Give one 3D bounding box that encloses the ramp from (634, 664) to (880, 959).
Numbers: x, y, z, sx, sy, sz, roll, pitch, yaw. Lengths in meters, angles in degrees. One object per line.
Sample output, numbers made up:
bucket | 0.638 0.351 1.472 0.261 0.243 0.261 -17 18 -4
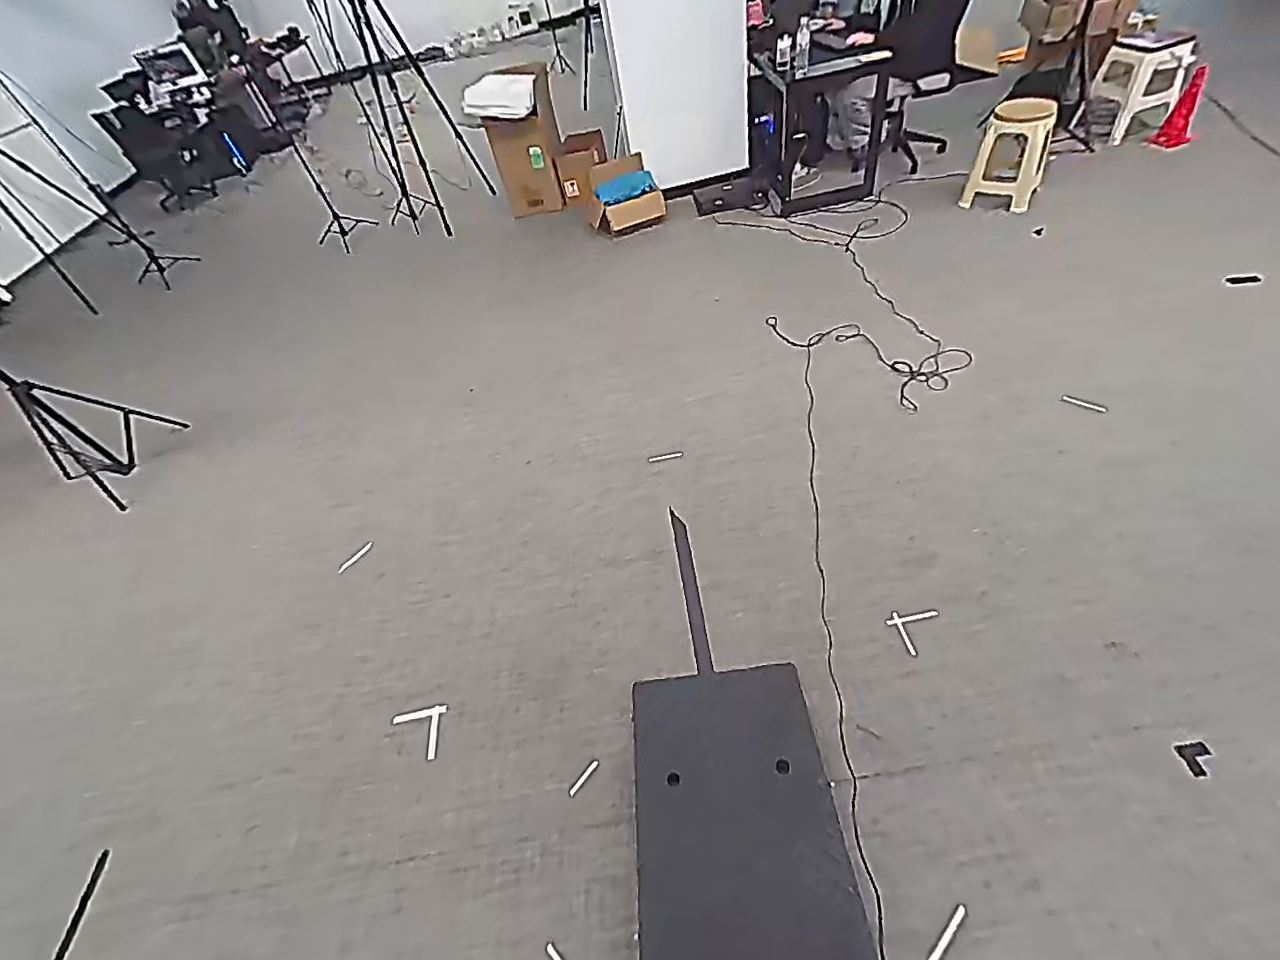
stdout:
ramp | 0.234 0.895 1.237 0.509 0.206 0.991 -11 47 5
